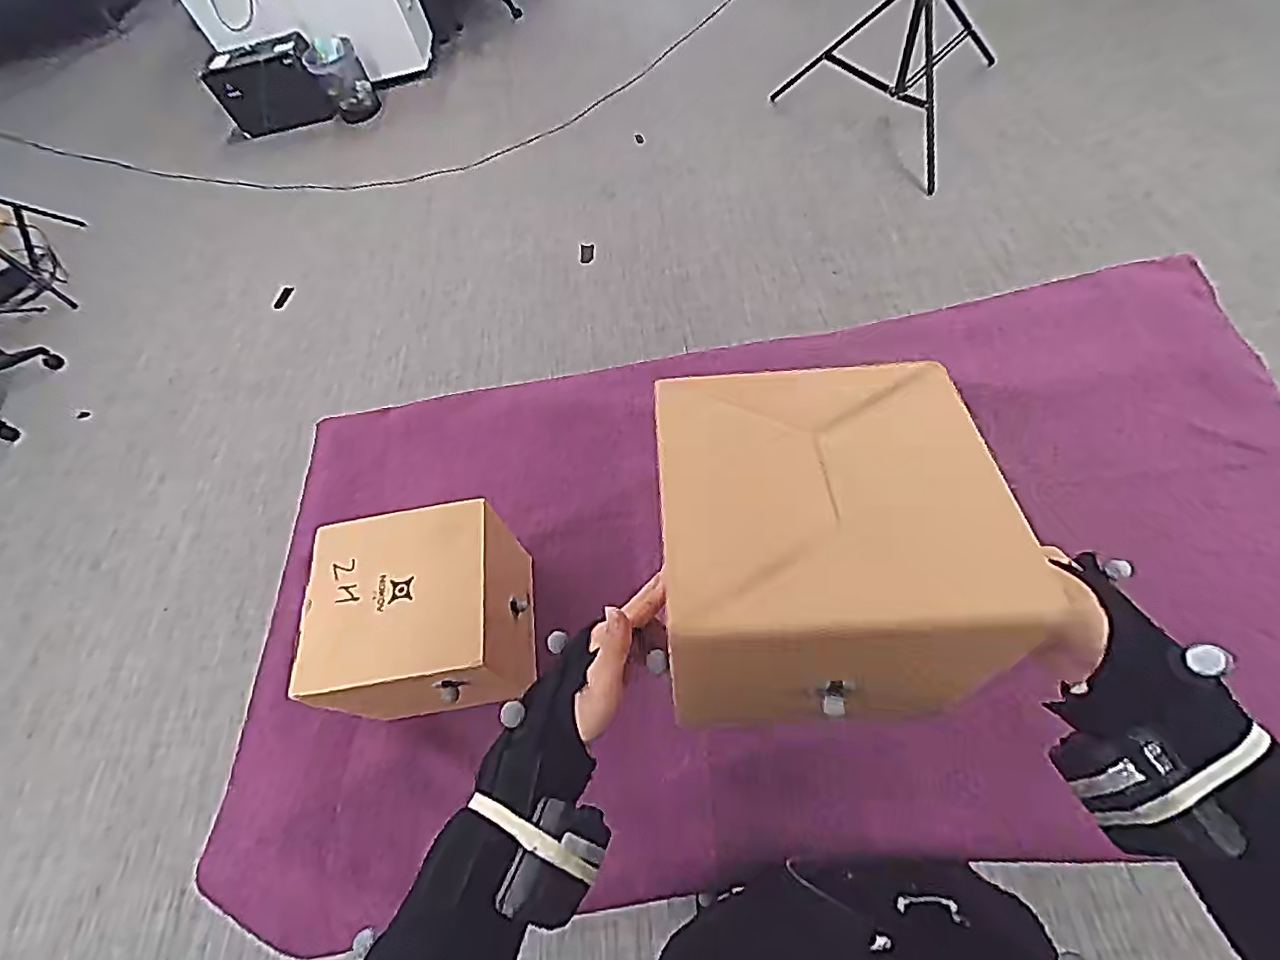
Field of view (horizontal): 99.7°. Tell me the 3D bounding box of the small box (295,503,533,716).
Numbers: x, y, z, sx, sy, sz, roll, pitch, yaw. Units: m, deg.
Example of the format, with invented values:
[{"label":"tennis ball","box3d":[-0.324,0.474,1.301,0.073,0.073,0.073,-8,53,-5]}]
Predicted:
[{"label":"small box","box3d":[-0.216,0.145,0.575,0.179,0.176,0.168,-10,59,2]}]
